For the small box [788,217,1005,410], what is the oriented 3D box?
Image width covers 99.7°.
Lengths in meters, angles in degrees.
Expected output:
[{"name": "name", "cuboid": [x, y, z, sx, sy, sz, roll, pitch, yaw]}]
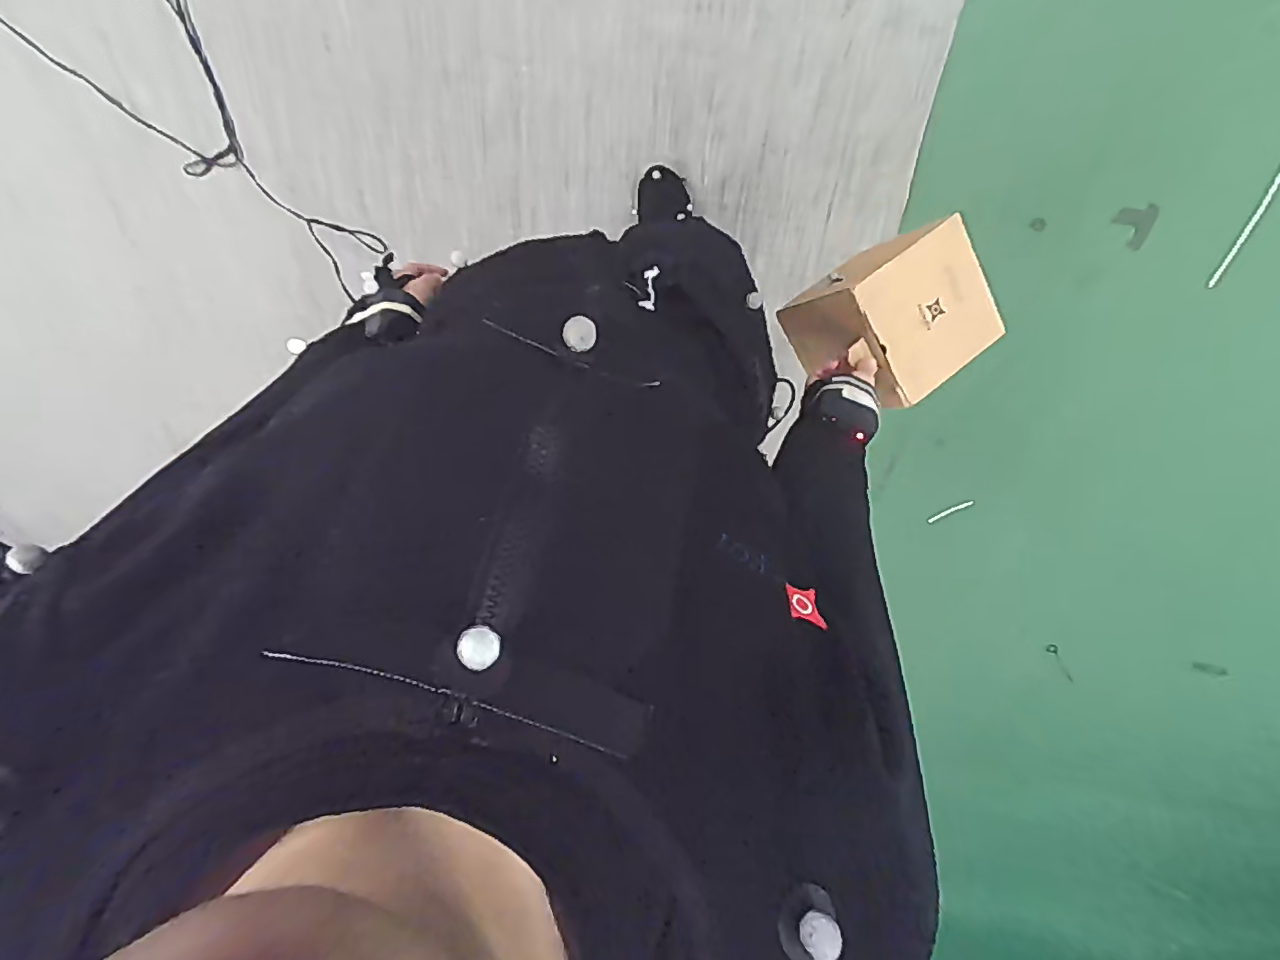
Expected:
[{"name": "small box", "cuboid": [0.323, -0.204, 0.715, 0.179, 0.176, 0.168, -37, 107, -11]}]
